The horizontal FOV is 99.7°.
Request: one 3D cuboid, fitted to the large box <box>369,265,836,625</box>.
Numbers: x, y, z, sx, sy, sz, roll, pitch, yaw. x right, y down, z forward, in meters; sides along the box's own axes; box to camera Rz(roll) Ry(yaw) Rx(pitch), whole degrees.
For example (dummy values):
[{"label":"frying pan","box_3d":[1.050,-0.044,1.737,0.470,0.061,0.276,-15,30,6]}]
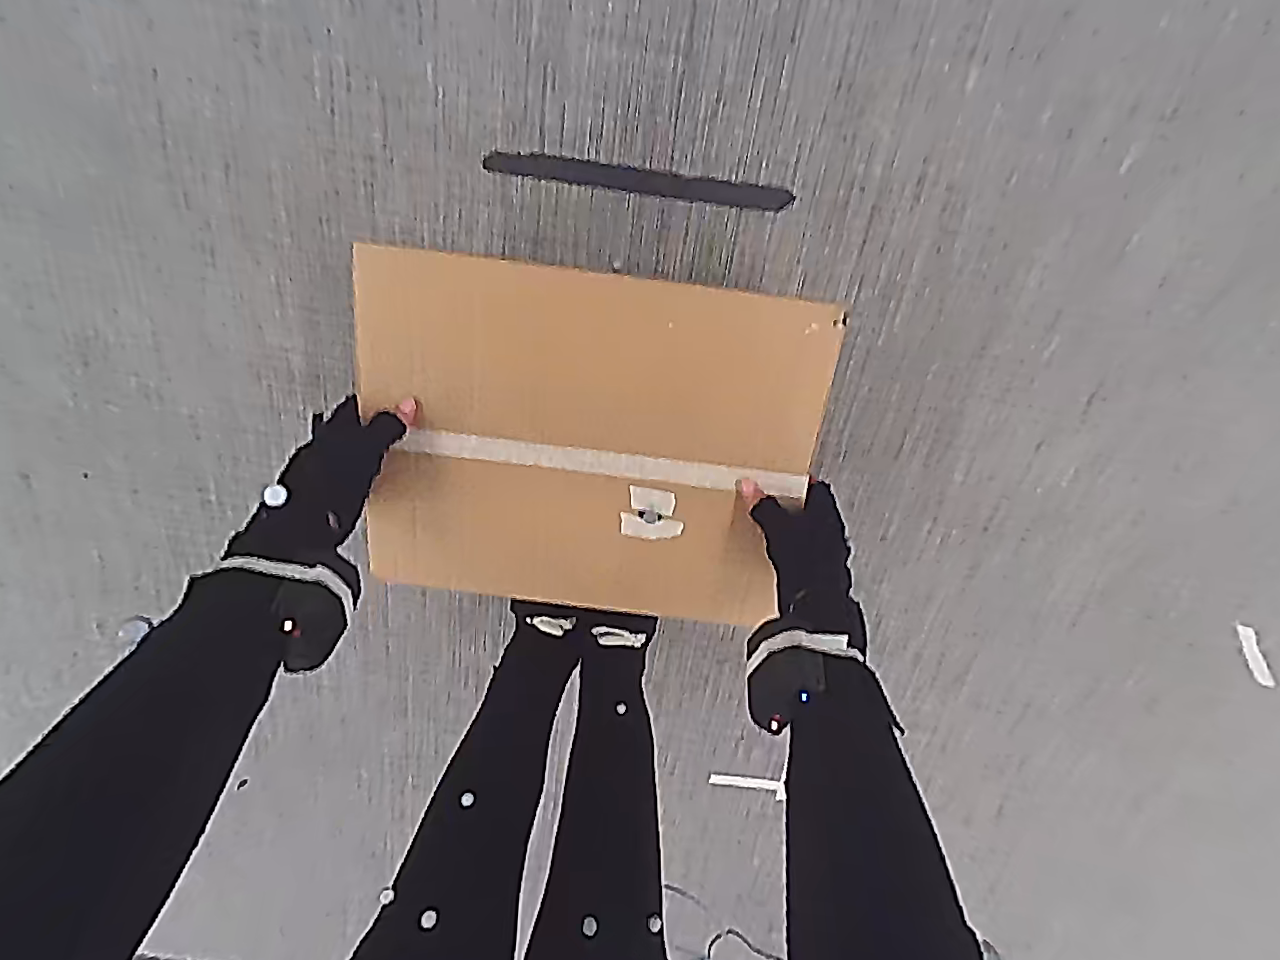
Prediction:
[{"label":"large box","box_3d":[-0.044,-0.062,0.641,0.408,0.320,0.320,7,110,-1]}]
